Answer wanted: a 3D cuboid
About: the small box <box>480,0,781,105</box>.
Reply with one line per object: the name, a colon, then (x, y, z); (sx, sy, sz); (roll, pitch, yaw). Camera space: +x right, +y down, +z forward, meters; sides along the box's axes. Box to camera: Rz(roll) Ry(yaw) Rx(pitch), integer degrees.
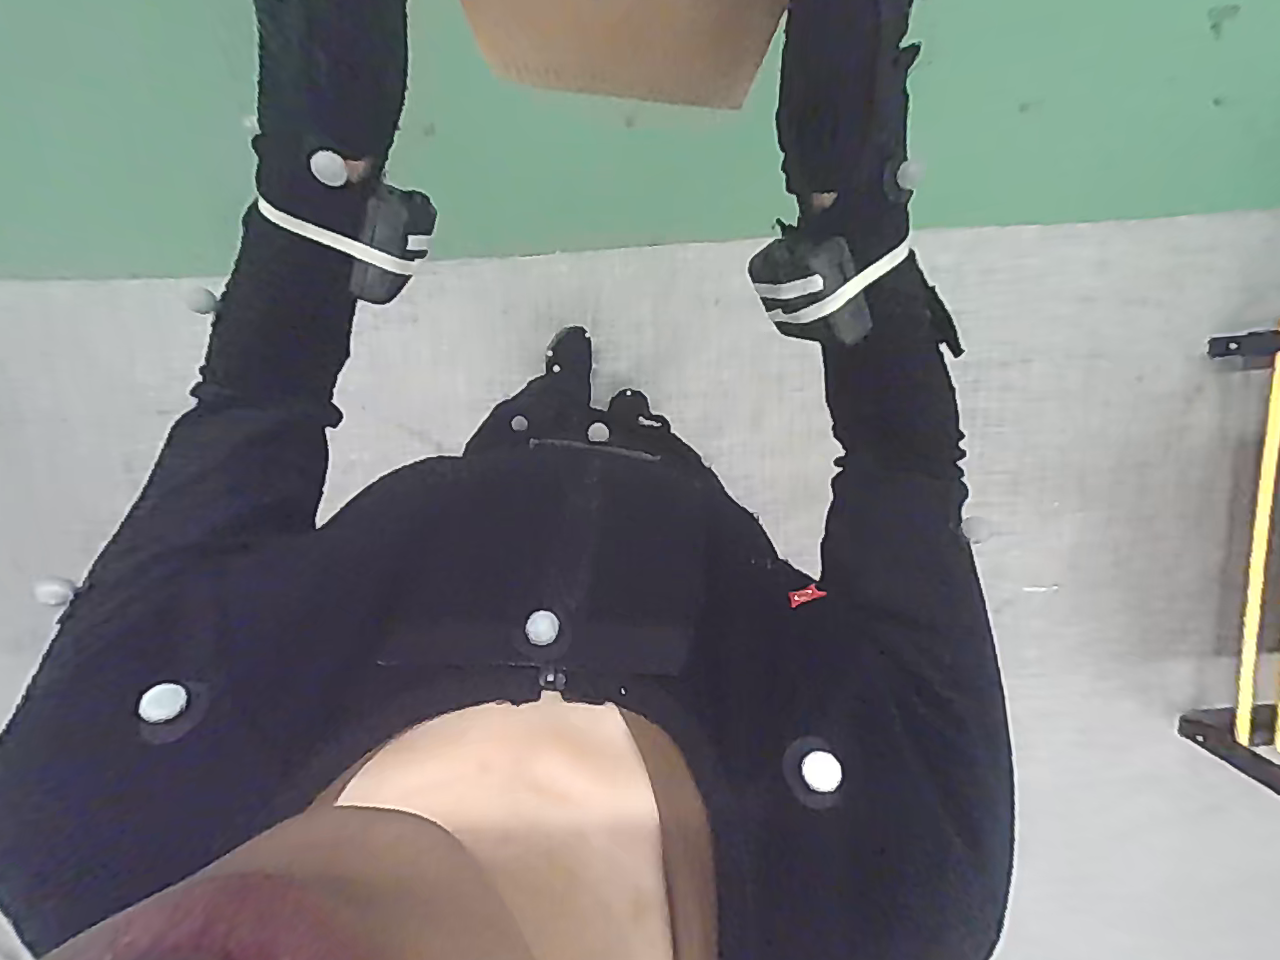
small box: (-0.002, -0.335, 0.290); (0.179, 0.176, 0.168); (4, 100, -3)
